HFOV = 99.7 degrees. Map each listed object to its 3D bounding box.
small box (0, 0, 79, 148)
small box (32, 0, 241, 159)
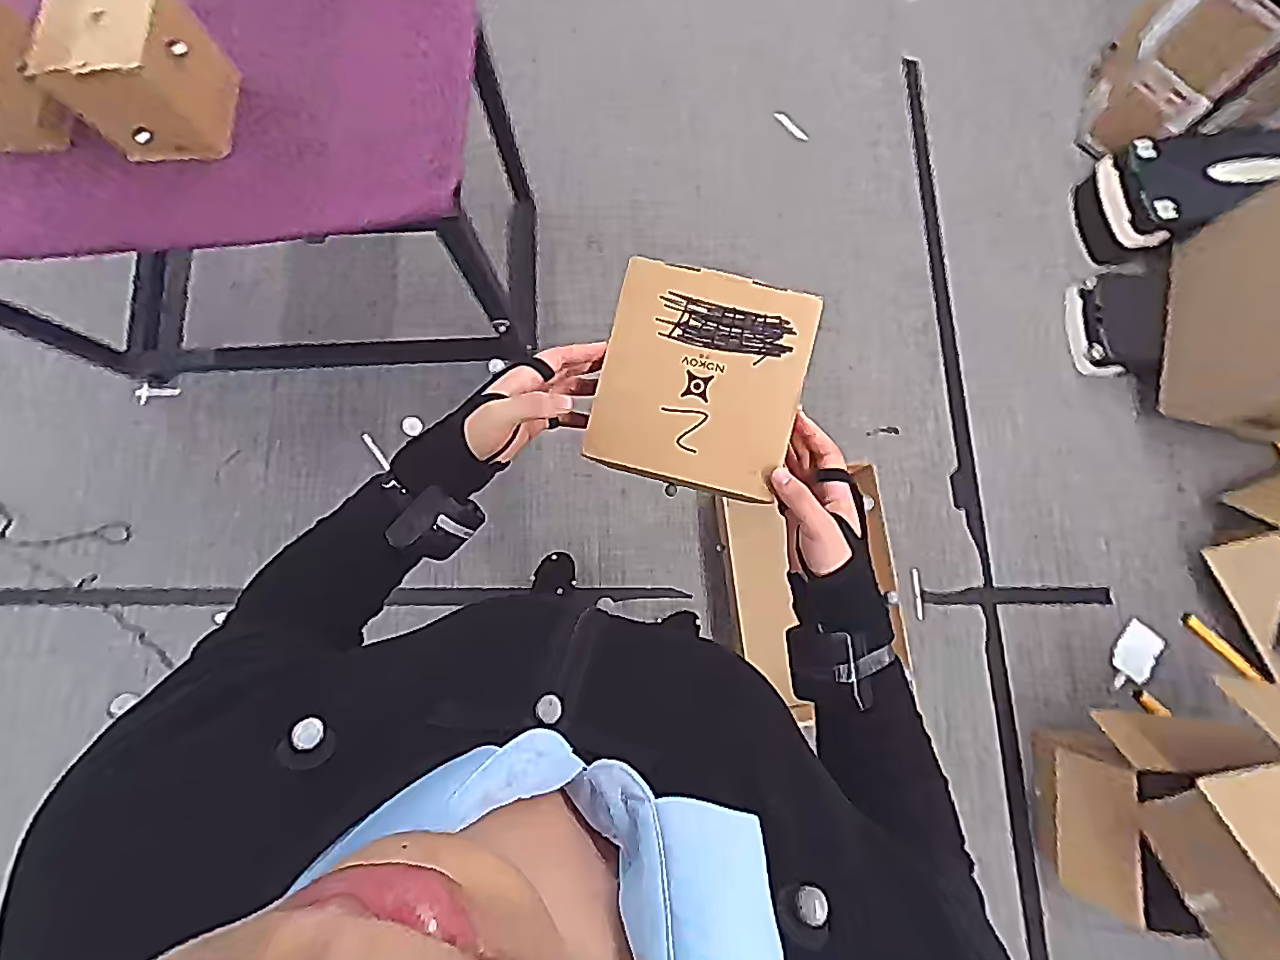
[{"bbox_3d":[-1.064,-0.663,0.865,0.179,0.176,0.168,0,79,0],"label":"small box"},{"bbox_3d":[-0.782,-0.653,0.862,0.168,0.176,0.179,0,79,0],"label":"small box"}]
